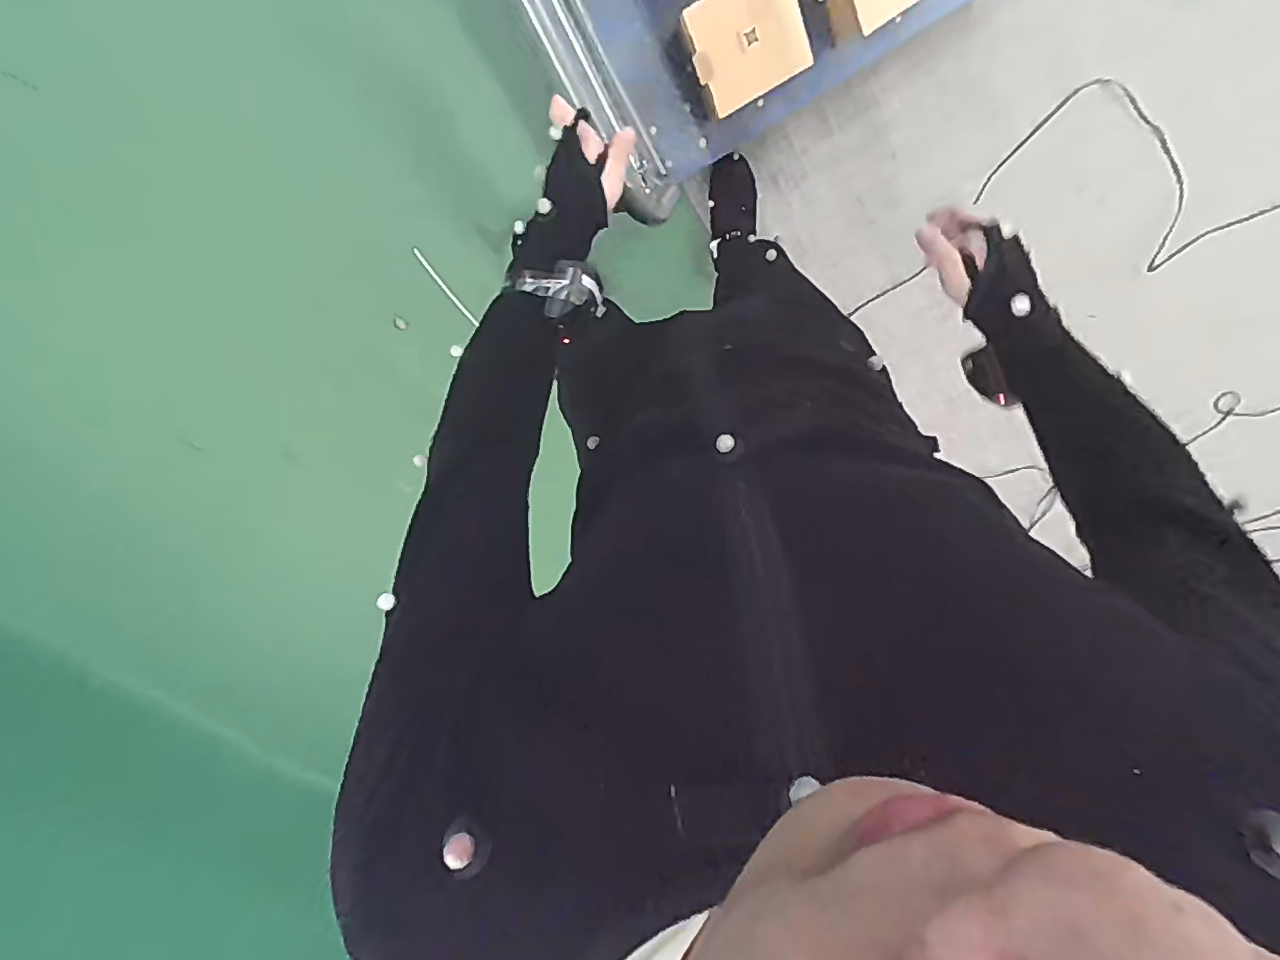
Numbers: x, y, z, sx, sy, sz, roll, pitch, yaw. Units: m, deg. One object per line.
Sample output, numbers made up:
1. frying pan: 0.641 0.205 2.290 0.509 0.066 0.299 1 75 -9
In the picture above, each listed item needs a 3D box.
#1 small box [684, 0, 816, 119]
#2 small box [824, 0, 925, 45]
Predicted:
1. small box: 0.187 -0.775 0.959 0.179 0.176 0.168 -22 120 17
2. small box: 0.408 -0.865 0.891 0.179 0.176 0.168 -25 119 18
